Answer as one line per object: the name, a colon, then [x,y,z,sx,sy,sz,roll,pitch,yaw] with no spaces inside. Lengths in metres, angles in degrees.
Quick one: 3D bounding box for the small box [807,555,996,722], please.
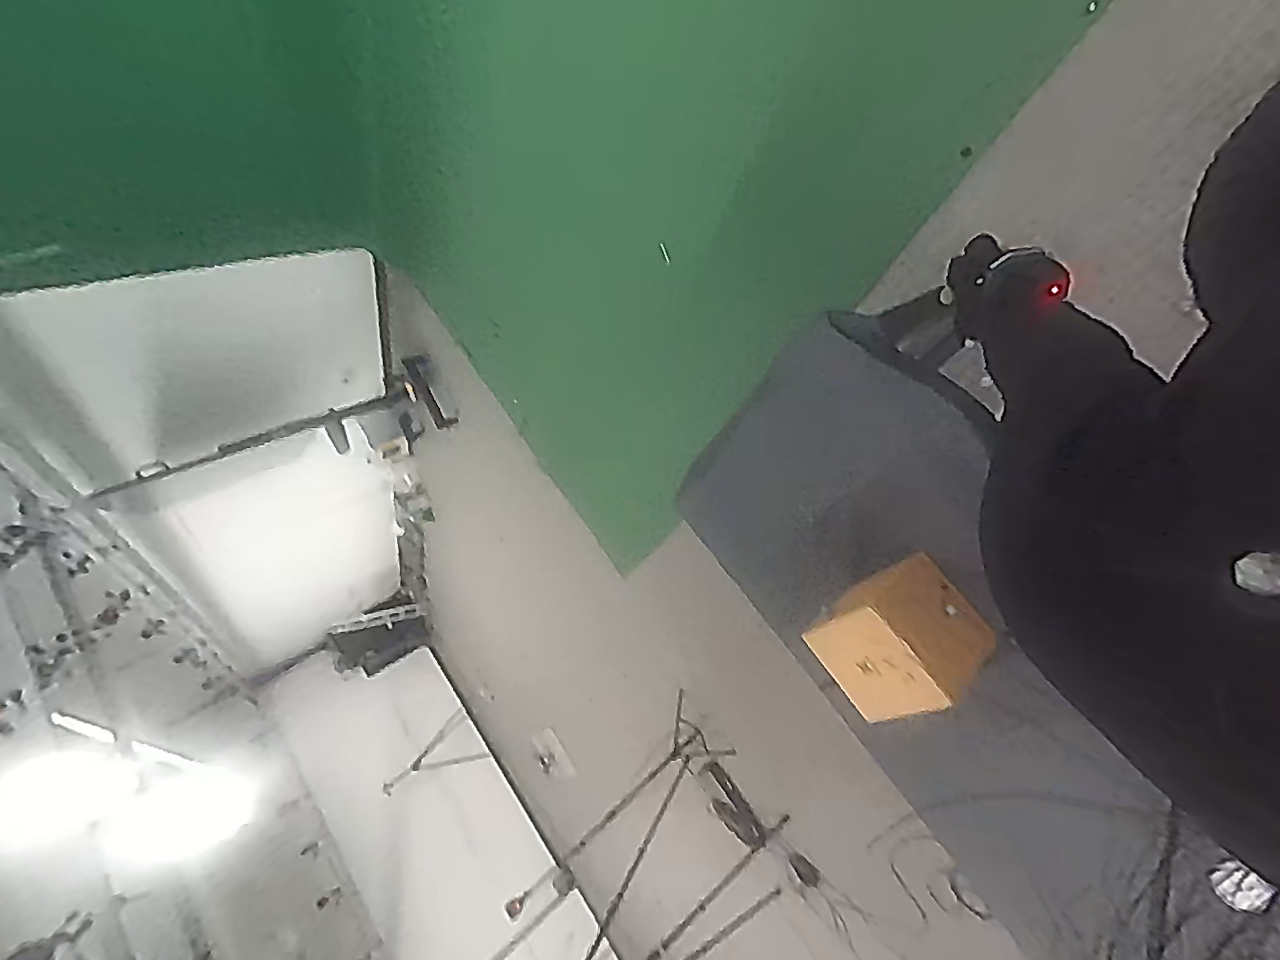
small box: [0.411,0.249,0.855,0.168,0.176,0.179,52,144,13]
